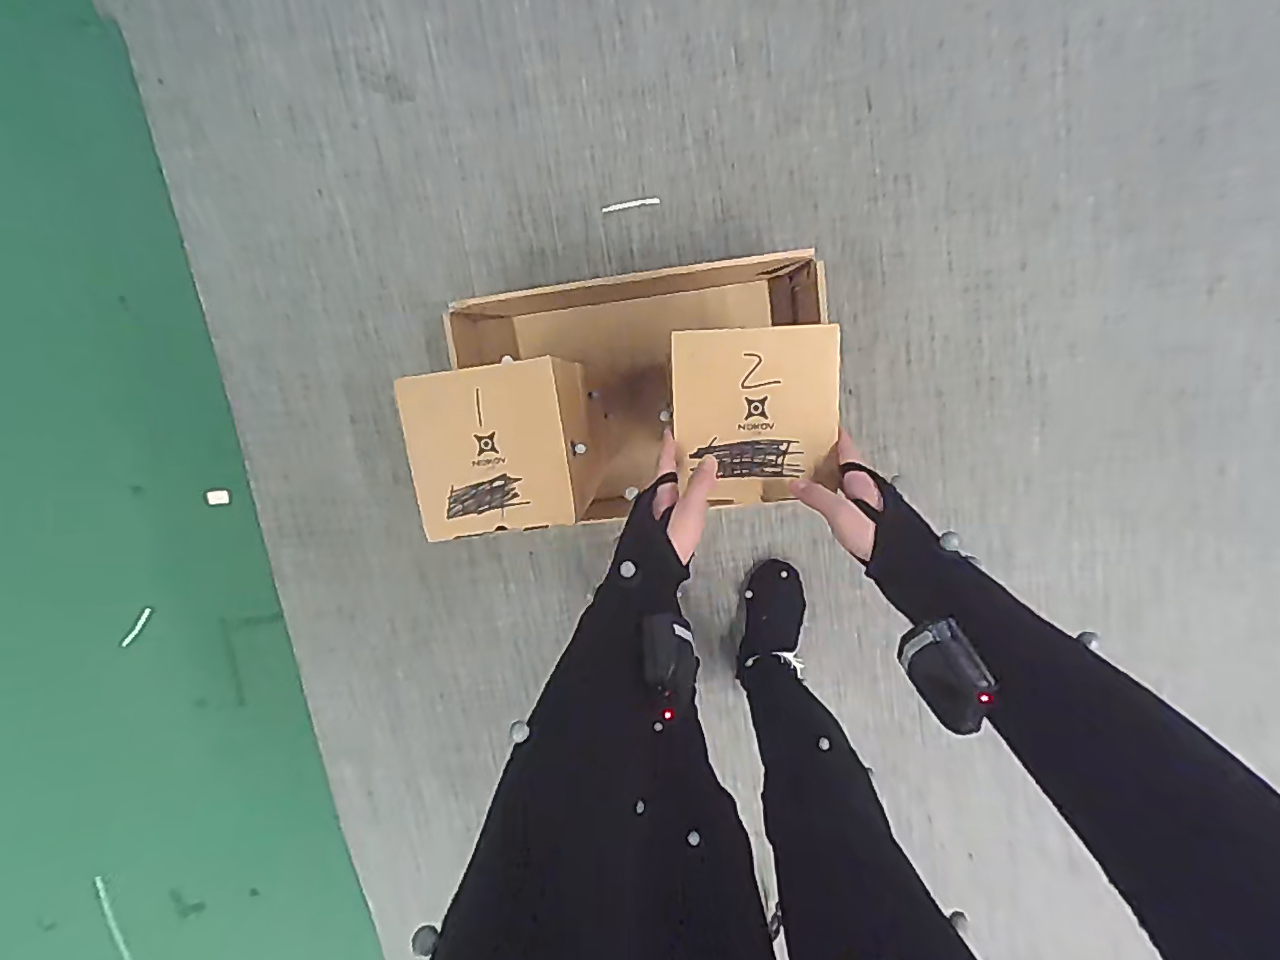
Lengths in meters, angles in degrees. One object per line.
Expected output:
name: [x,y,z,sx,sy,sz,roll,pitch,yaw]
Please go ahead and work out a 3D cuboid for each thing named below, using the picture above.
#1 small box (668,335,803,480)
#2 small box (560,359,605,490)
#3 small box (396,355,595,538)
small box: [0.129,-0.105,0.777,0.168,0.176,0.179,-5,101,3]
small box: [-0.146,-0.078,0.791,0.168,0.176,0.179,-6,100,2]
small box: [-0.151,-0.045,0.629,0.168,0.176,0.179,-7,99,3]
